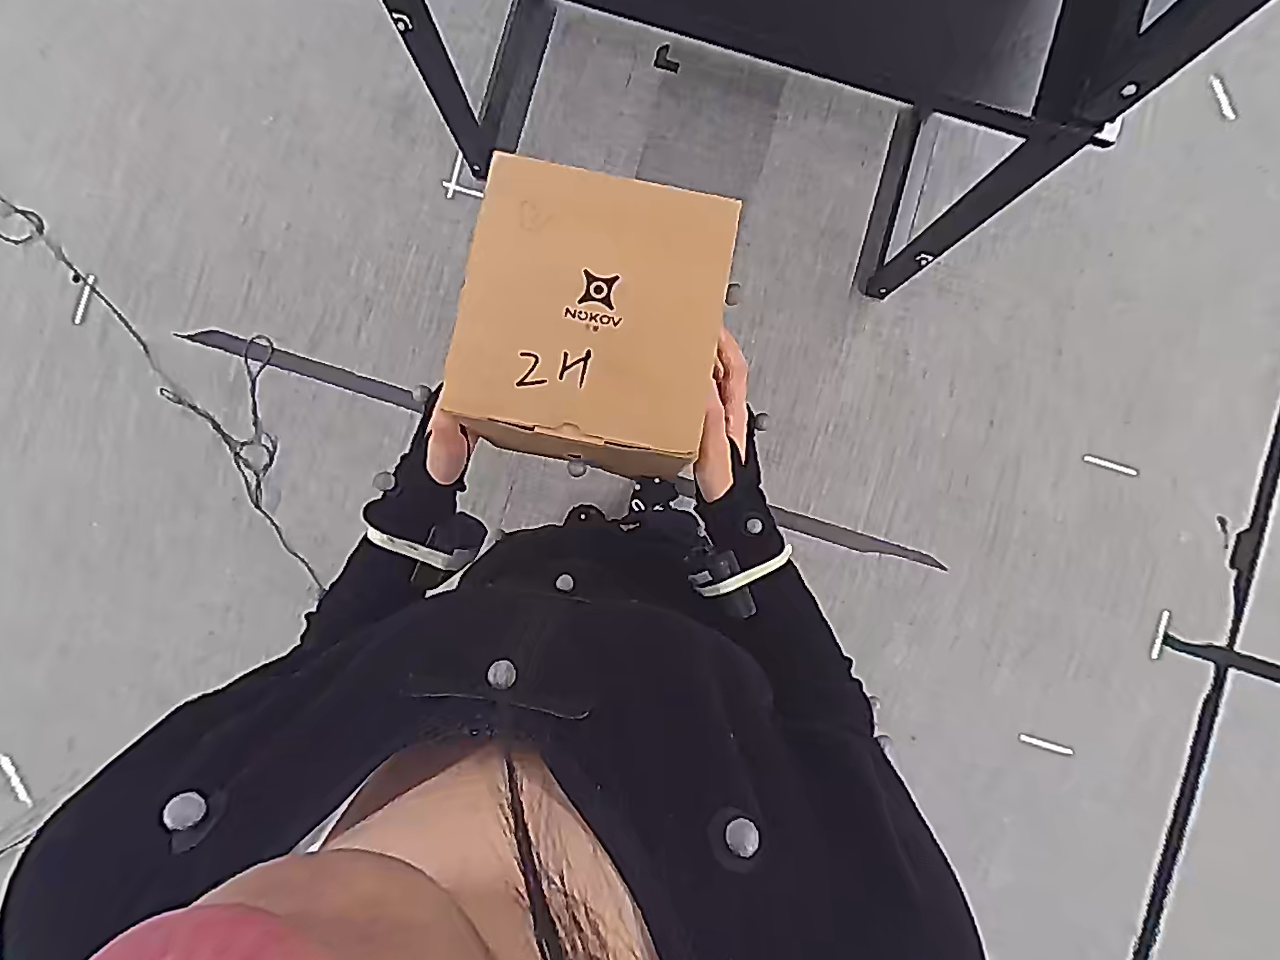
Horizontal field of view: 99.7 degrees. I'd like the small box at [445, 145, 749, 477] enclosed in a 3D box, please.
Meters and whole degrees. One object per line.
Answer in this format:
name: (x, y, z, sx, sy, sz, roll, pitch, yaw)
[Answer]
small box: (-0.028, -0.107, 0.416, 0.168, 0.176, 0.179, 10, 85, -2)
